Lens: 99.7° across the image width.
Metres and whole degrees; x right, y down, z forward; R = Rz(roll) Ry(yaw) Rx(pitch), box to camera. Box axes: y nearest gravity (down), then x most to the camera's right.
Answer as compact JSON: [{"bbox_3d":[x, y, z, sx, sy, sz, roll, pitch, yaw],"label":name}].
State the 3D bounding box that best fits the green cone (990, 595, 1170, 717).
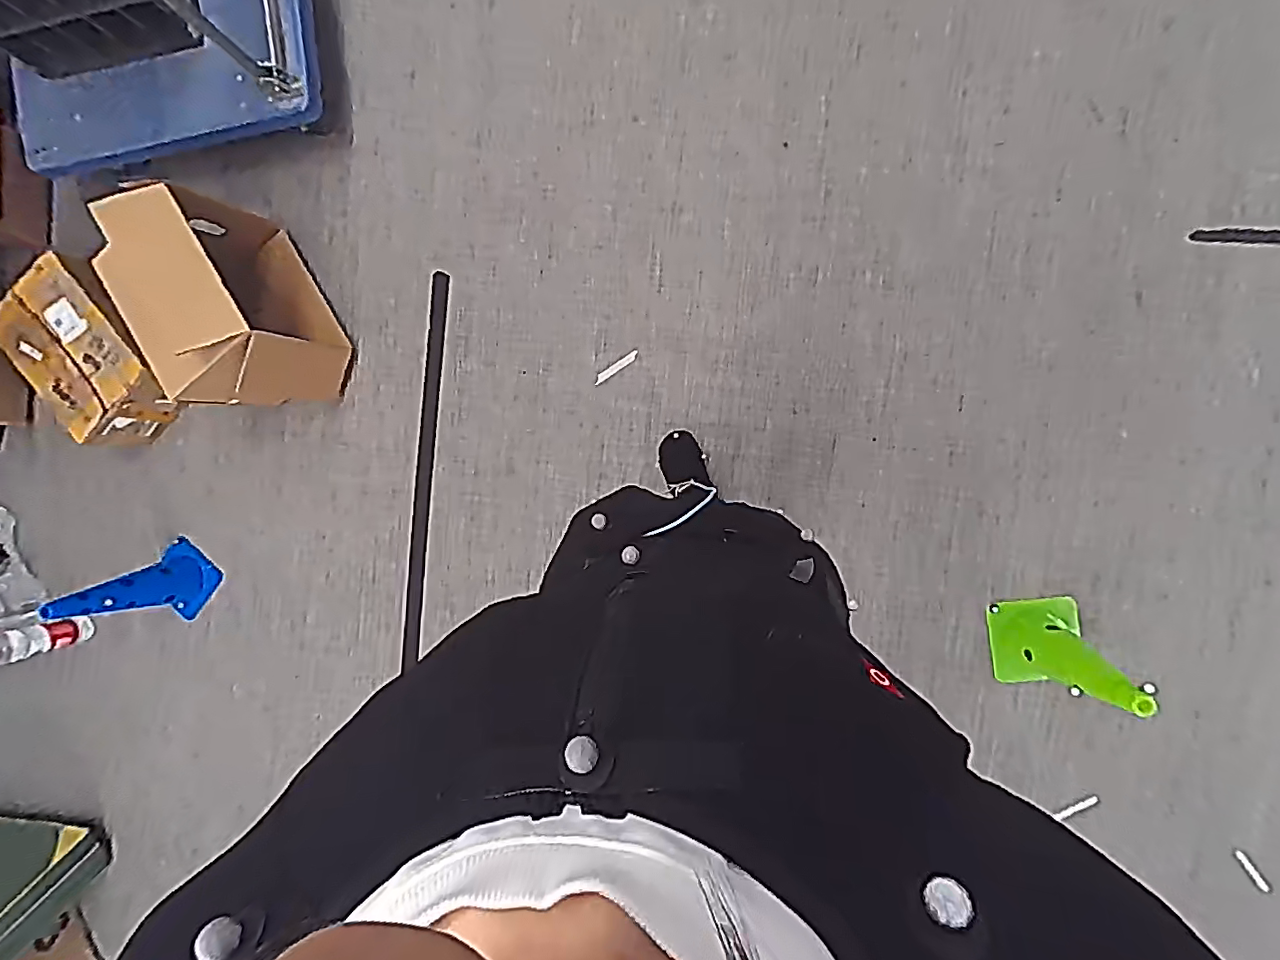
[{"bbox_3d":[0.937,0.396,1.134,0.202,0.368,0.200,-9,92,8],"label":"green cone"}]
